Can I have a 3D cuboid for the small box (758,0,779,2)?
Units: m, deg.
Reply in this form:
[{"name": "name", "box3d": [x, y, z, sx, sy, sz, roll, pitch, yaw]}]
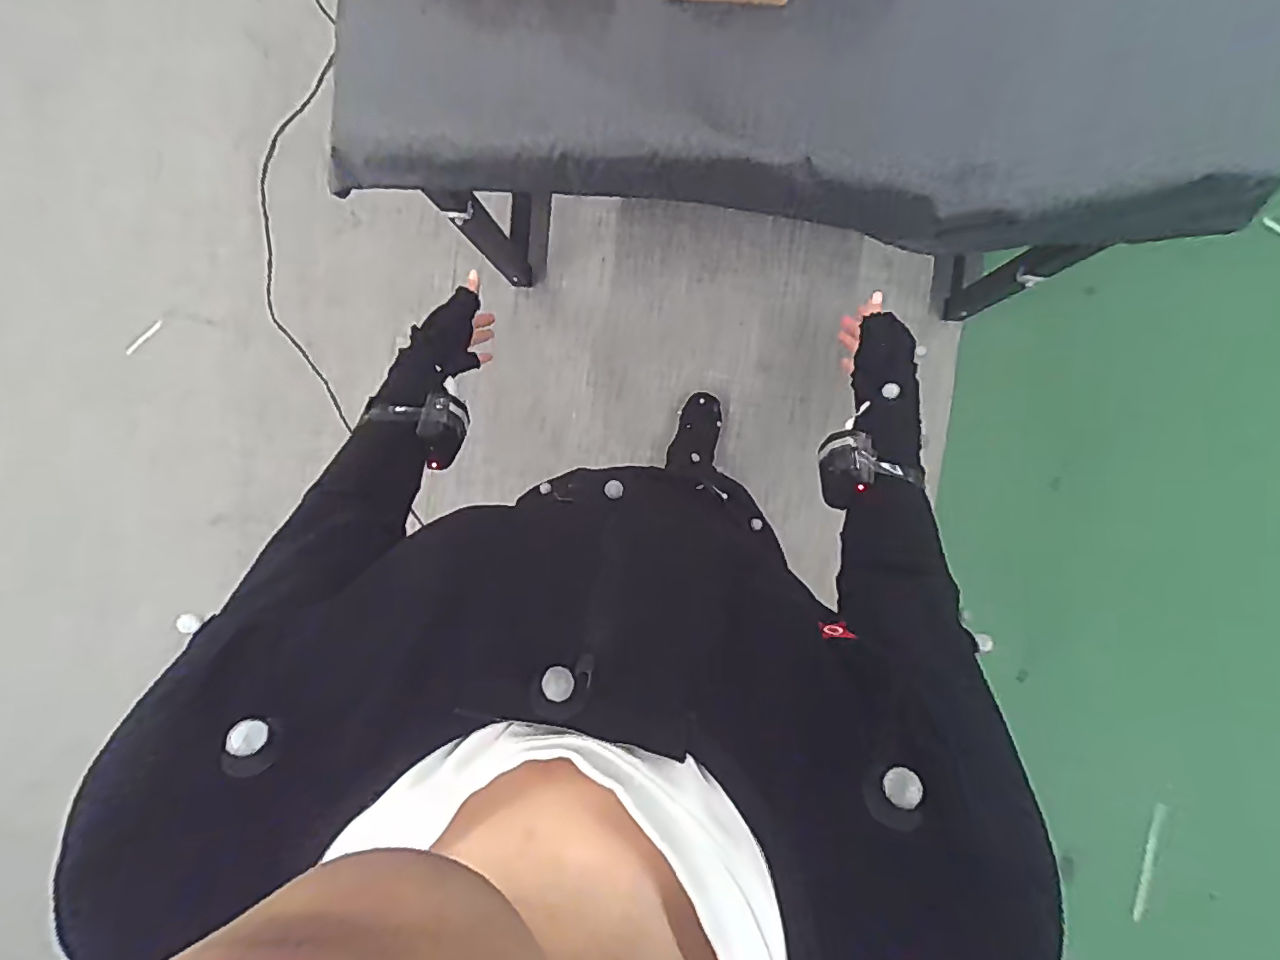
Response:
[{"name": "small box", "box3d": [0.113, -0.695, 0.610, 0.168, 0.176, 0.179, 7, 93, 4]}]
